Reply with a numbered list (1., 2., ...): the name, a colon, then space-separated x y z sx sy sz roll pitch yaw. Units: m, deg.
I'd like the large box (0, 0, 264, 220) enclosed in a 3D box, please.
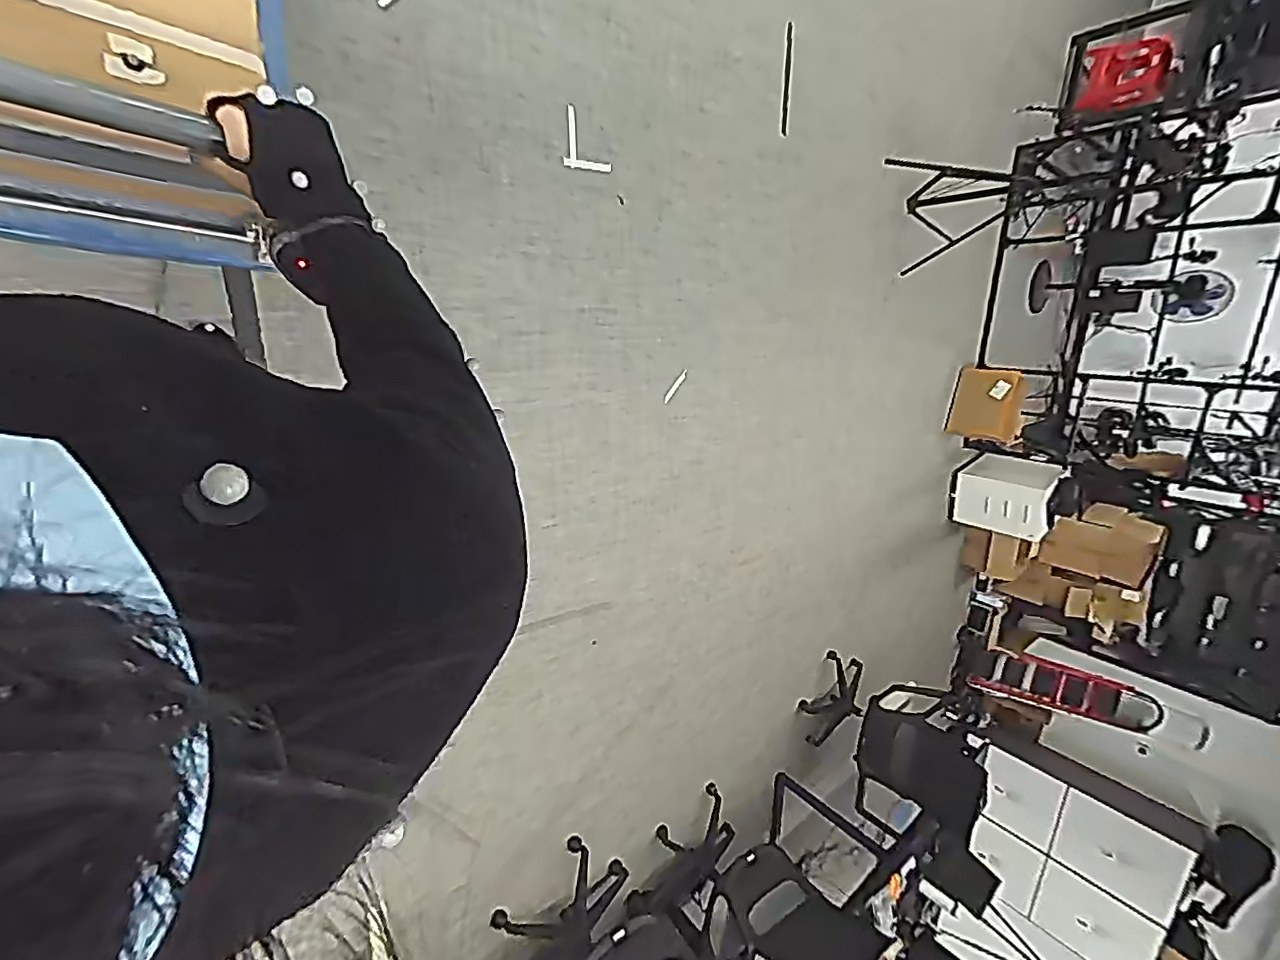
1. large box: -0.788 -0.581 0.736 0.408 0.320 0.320 -6 106 -41
